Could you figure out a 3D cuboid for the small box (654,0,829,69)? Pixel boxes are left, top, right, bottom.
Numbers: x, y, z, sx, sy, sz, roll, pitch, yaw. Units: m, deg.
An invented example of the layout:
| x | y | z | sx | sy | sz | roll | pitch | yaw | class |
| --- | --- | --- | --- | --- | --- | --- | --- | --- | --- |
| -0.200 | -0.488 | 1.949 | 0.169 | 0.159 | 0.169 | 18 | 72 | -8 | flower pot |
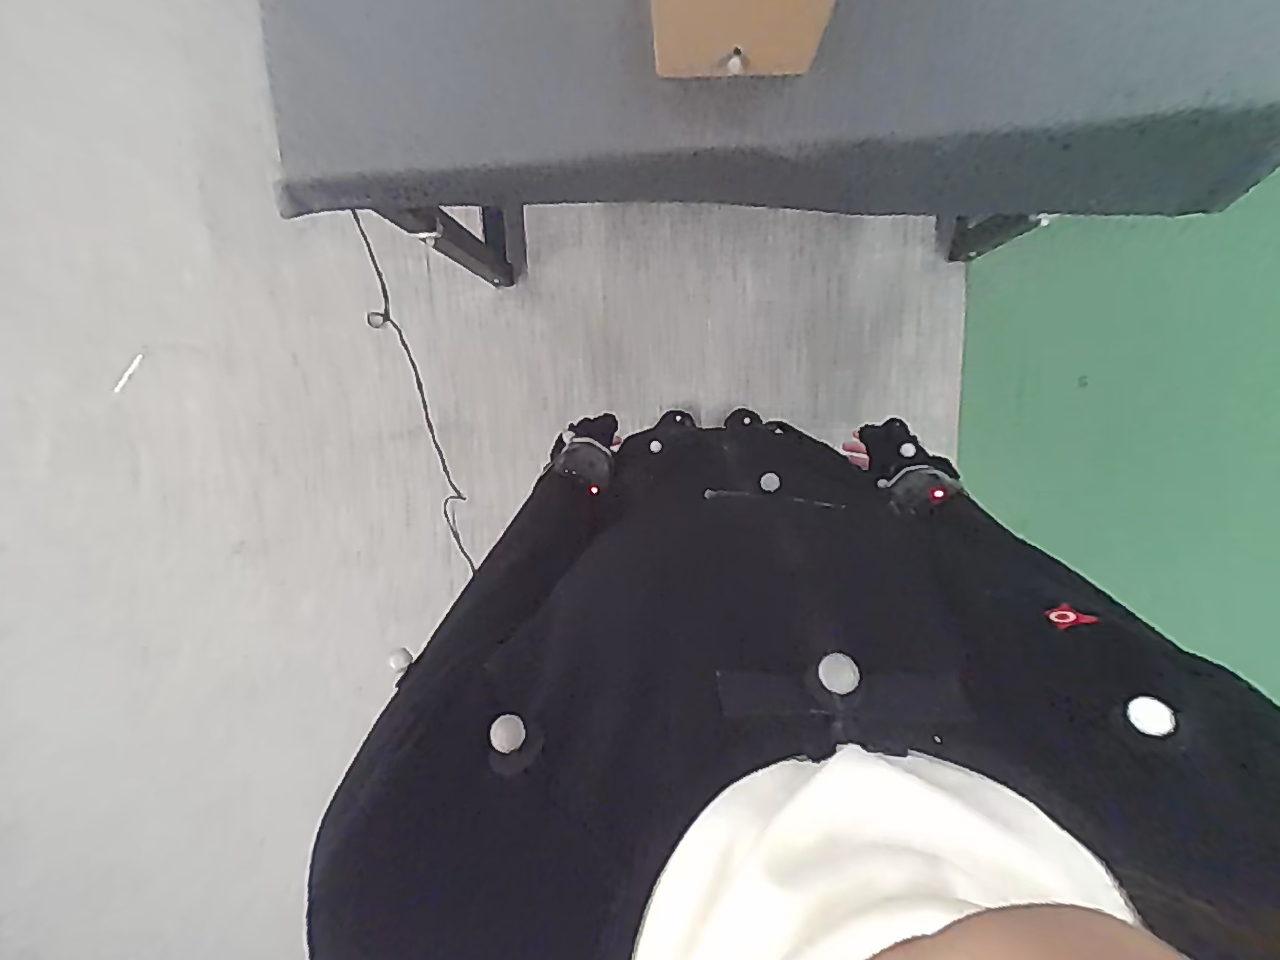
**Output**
| x | y | z | sx | sy | sz | roll | pitch | yaw | class |
| --- | --- | --- | --- | --- | --- | --- | --- | --- | --- |
| 0.103 | -0.547 | 0.539 | 0.179 | 0.176 | 0.168 | 1 | 98 | 4 | small box |
